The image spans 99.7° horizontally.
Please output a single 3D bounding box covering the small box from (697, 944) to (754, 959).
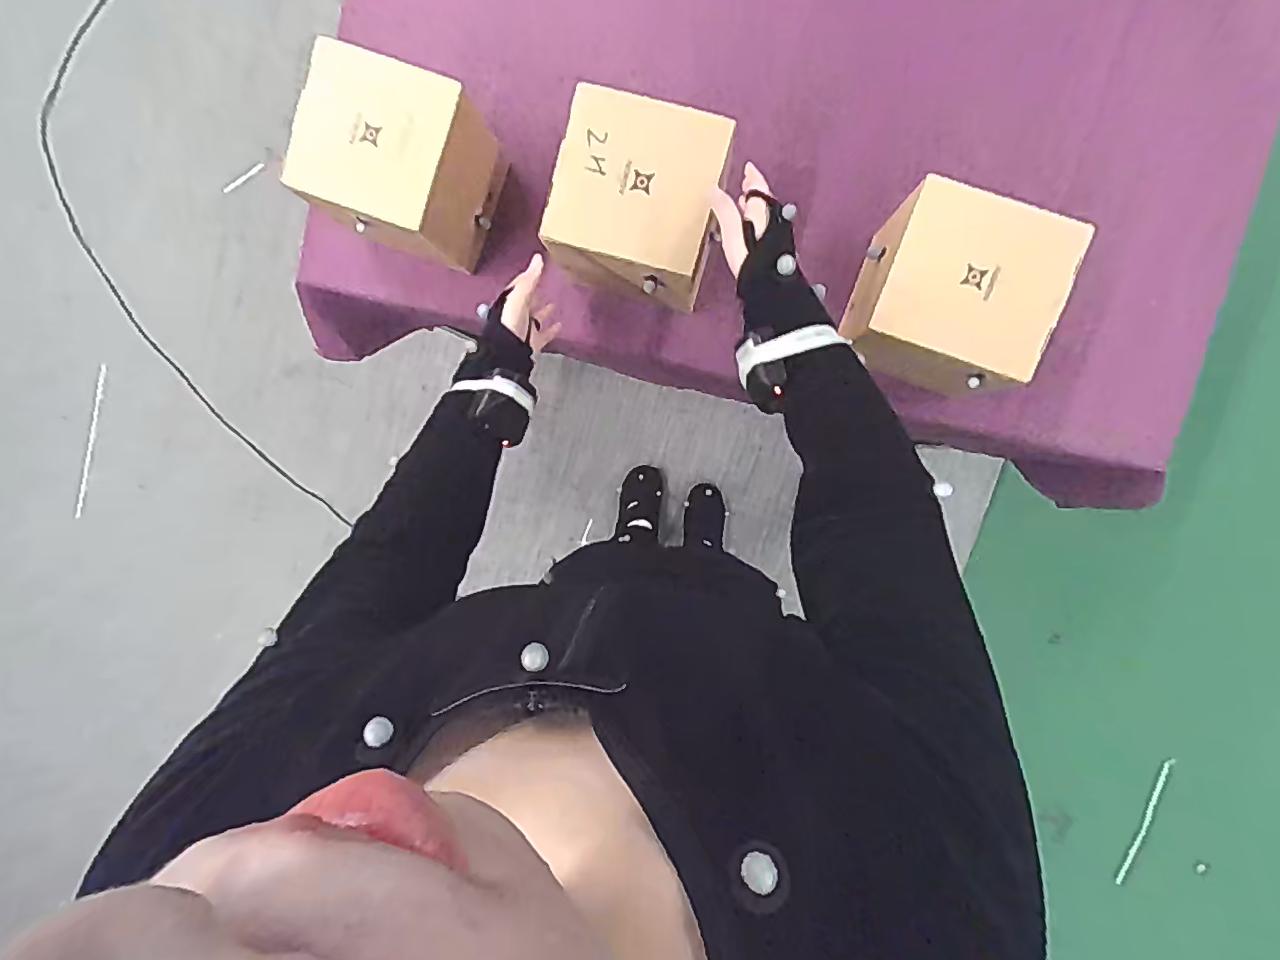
[{"bbox_3d":[0.242,1.444,1.504,0.168,0.176,0.179,-1,94,5],"label":"small box"}]

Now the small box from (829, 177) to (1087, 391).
[{"bbox_3d":[0.347,-0.210,0.632,0.179,0.176,0.168,20,96,2],"label":"small box"}]

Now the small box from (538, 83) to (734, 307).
[{"bbox_3d":[0.000,-0.323,0.652,0.179,0.176,0.168,17,95,4],"label":"small box"}]

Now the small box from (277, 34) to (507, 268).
[{"bbox_3d":[-0.293,-0.389,0.673,0.179,0.176,0.168,21,96,2],"label":"small box"}]
